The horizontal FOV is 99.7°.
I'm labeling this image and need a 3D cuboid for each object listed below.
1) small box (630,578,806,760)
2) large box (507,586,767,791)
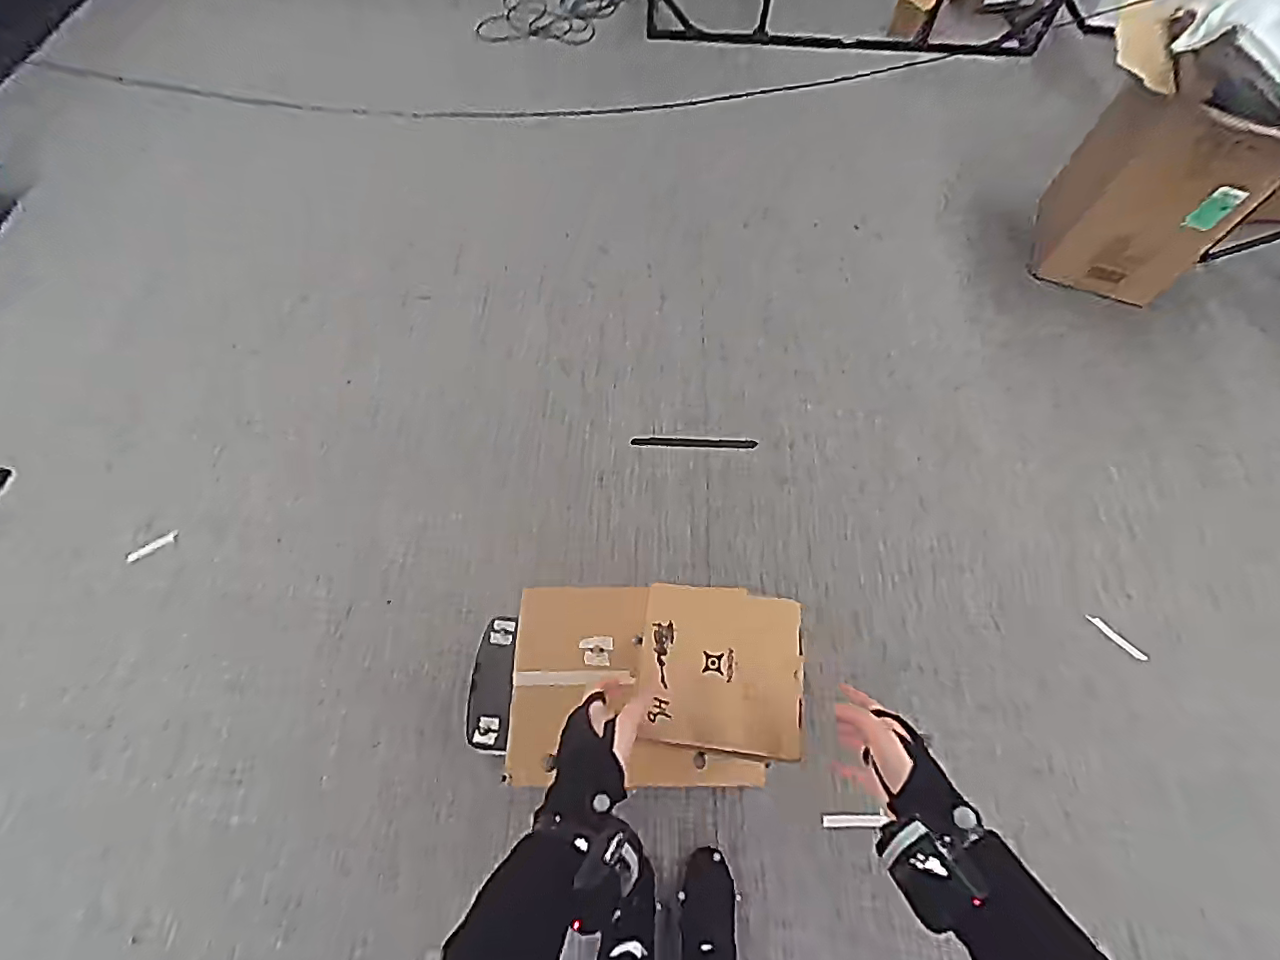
[{"bbox_3d":[0.087,0.231,0.648,0.179,0.176,0.168,8,62,2],"label":"small box"},{"bbox_3d":[-0.006,0.396,1.021,0.408,0.320,0.320,0,62,0],"label":"large box"}]
